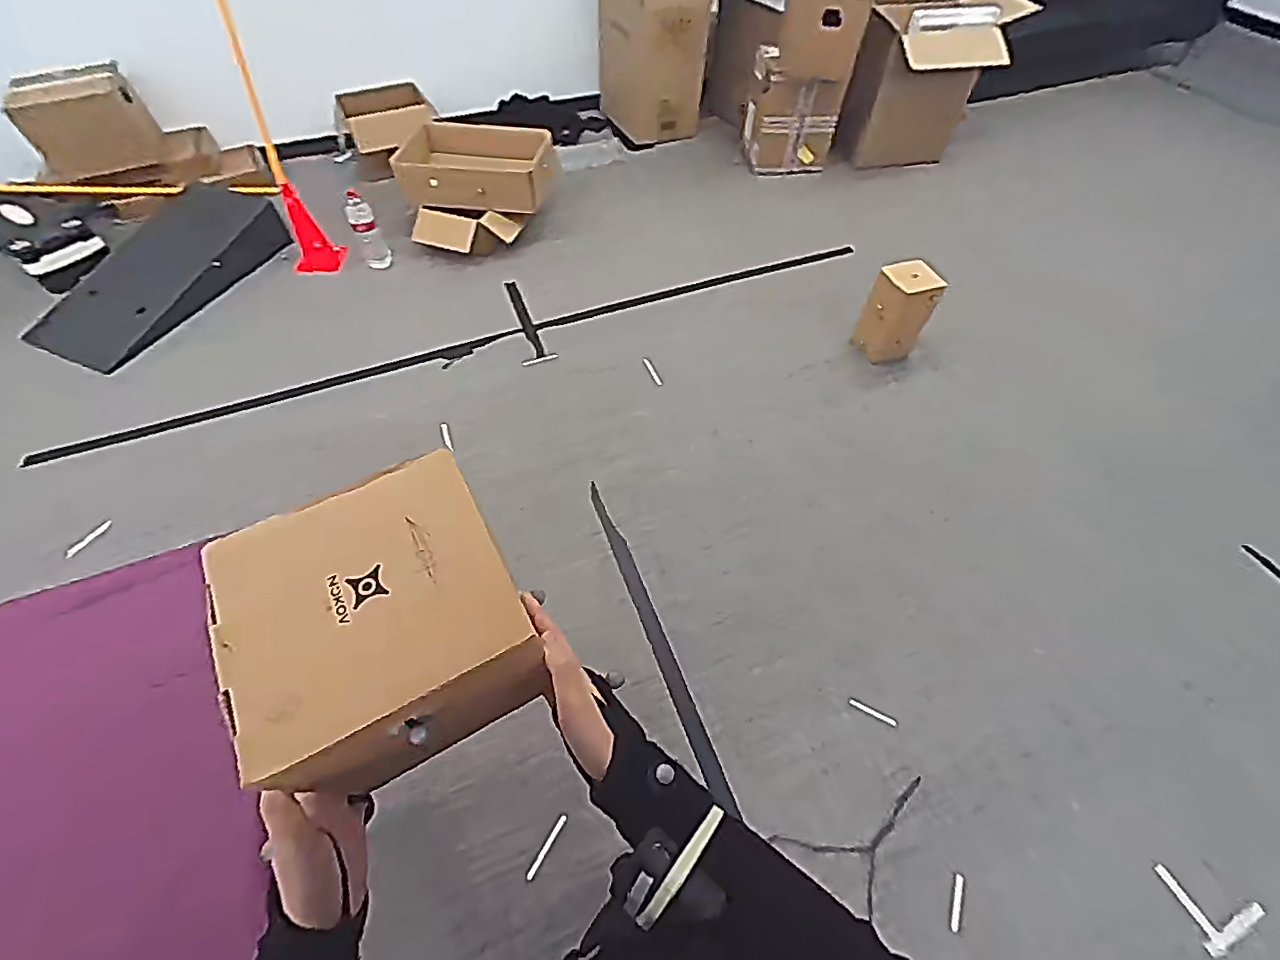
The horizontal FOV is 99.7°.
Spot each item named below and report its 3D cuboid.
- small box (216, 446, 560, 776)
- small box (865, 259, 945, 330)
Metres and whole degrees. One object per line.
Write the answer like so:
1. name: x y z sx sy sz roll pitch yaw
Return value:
1. small box: -0.178 0.109 0.425 0.179 0.176 0.168 -25 64 -16
2. small box: 0.969 -0.682 1.995 0.179 0.176 0.168 -15 56 -10
